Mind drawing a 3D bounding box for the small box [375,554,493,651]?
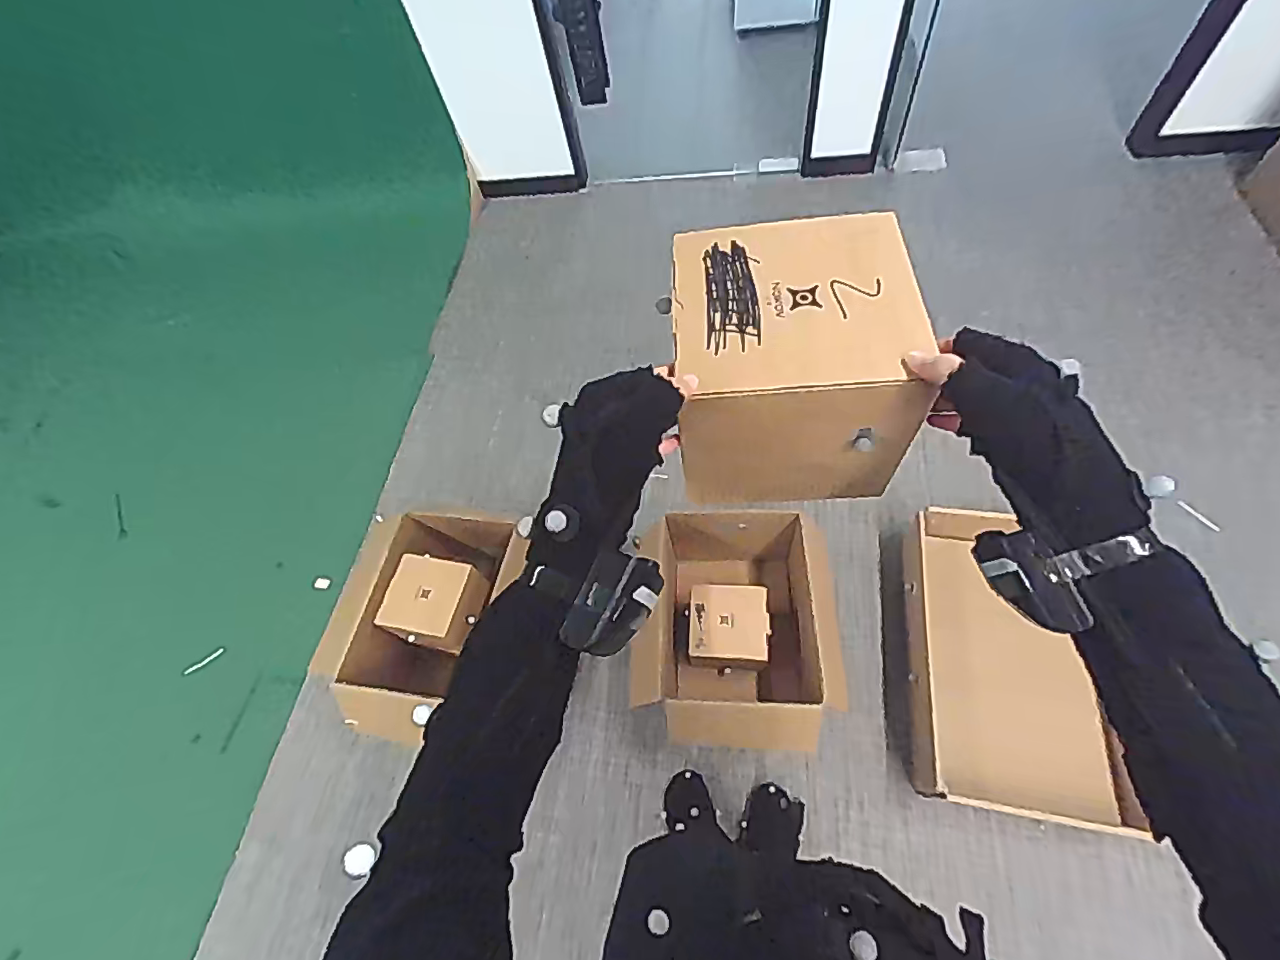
[{"bbox_3d":[-0.467,0.290,1.262,0.179,0.176,0.168,7,62,12],"label":"small box"}]
